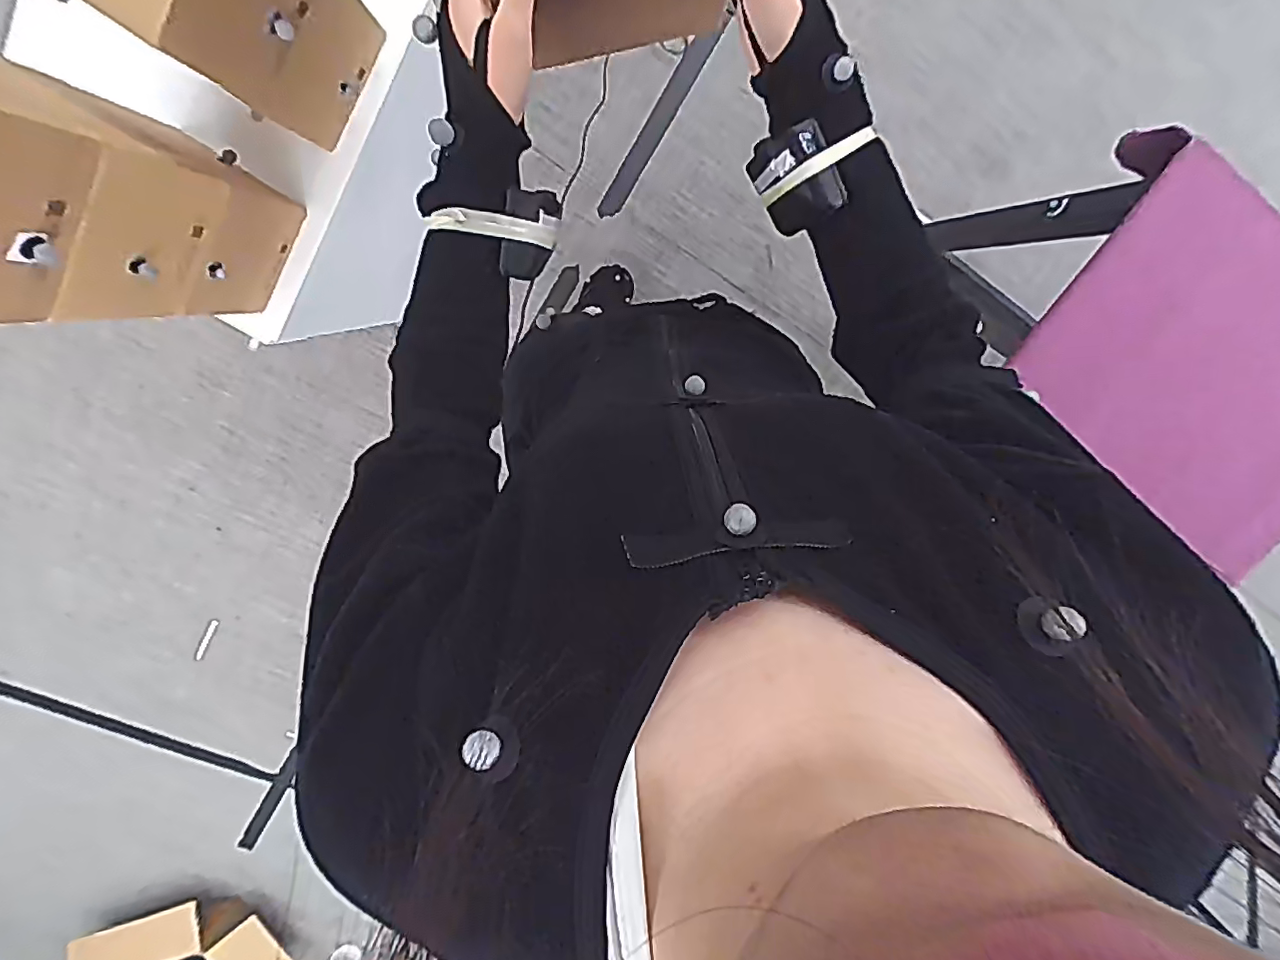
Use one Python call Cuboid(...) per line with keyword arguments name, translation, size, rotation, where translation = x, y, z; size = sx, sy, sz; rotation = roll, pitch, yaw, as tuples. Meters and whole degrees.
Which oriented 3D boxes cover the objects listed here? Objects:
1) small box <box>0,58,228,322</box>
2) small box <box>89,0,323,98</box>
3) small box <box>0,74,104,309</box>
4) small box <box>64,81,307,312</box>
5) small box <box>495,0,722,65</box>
Cuboid(name="small box", translation=(-0.543, -0.270, 0.507), size=(0.179, 0.176, 0.168), rotation=(29, 104, -13))
Cuboid(name="small box", translation=(-0.402, -0.467, 0.450), size=(0.179, 0.176, 0.168), rotation=(32, 104, -16))
Cuboid(name="small box", translation=(-0.530, -0.220, 0.353), size=(0.179, 0.176, 0.168), rotation=(29, 105, -14))
Cuboid(name="small box", translation=(-0.559, -0.323, 0.659), size=(0.179, 0.176, 0.168), rotation=(31, 104, -13))
Cuboid(name="small box", translation=(-0.027, -0.418, 0.362), size=(0.179, 0.176, 0.168), rotation=(-11, 109, 3))
